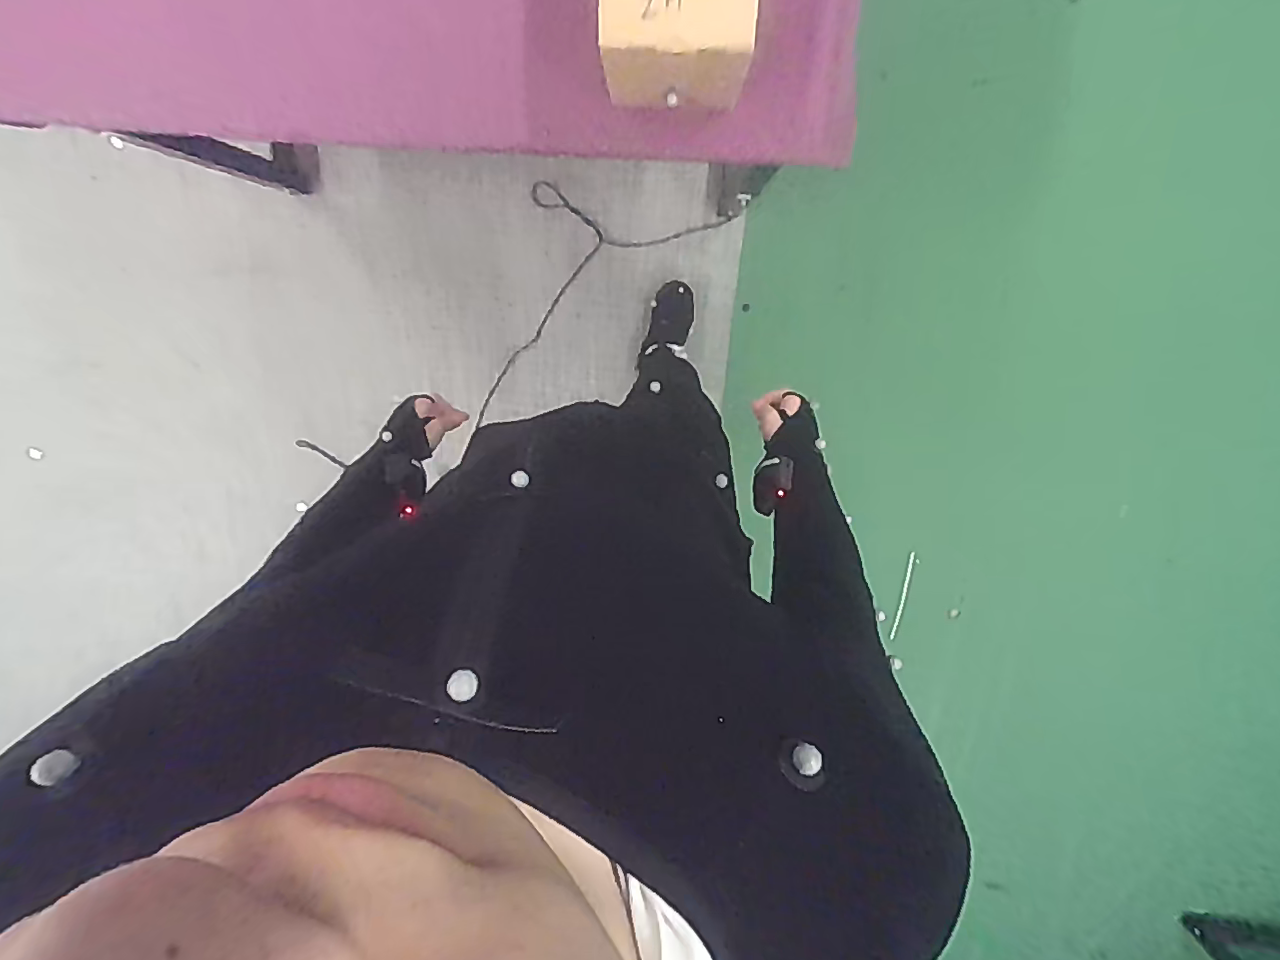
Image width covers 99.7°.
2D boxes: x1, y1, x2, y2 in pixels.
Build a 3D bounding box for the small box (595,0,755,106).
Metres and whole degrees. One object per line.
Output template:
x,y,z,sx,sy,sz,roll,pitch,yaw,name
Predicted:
0.041,-0.559,0.614,0.168,0.176,0.179,3,108,2,small box
